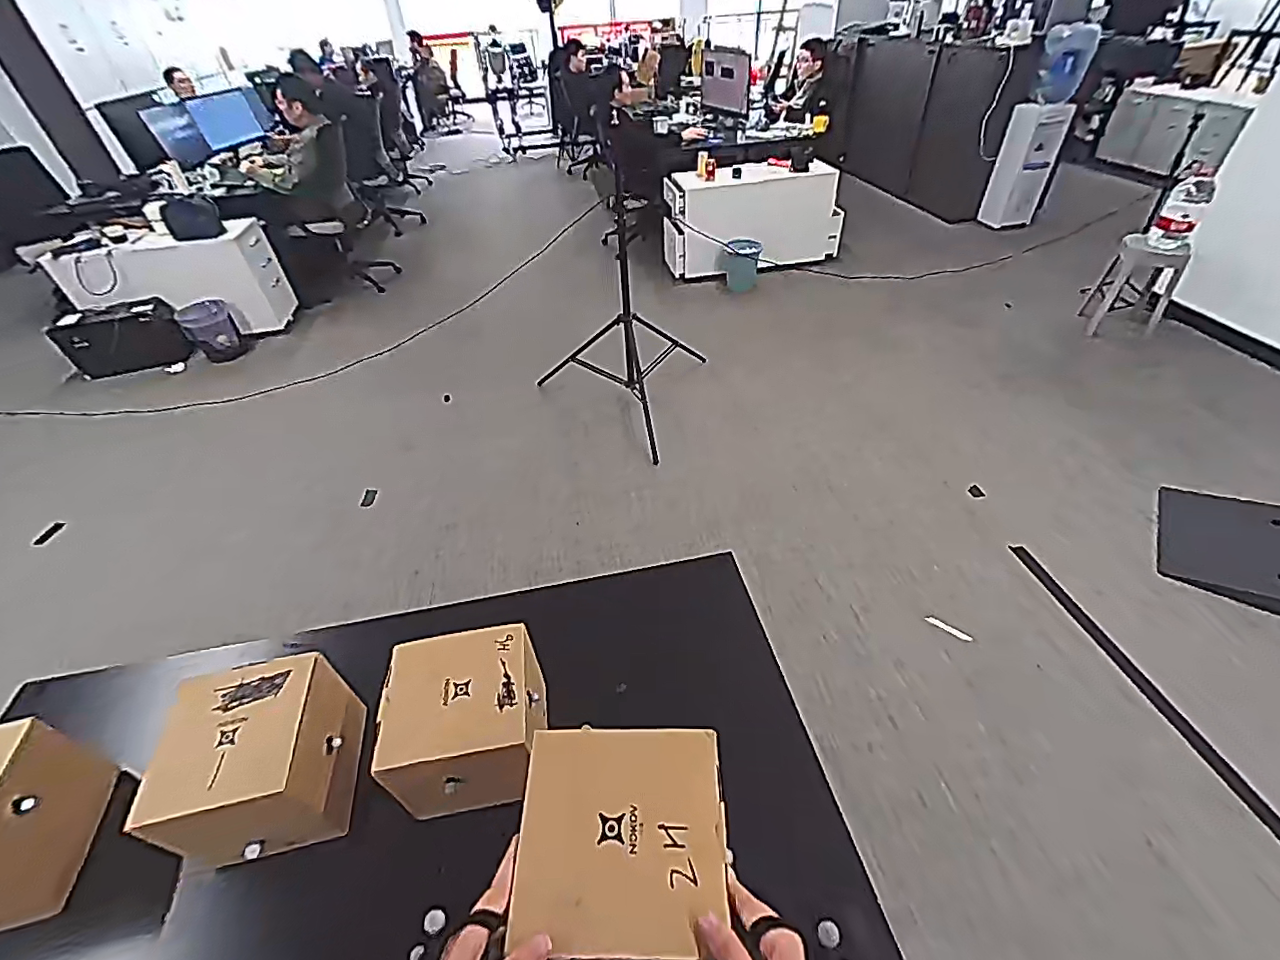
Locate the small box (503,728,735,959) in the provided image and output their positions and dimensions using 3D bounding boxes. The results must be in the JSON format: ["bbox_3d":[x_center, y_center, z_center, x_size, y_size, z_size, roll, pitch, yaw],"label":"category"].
[{"bbox_3d":[-0.011,0.348,0.507,0.179,0.176,0.168,-1,46,2],"label":"small box"}]

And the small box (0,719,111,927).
[{"bbox_3d":[-0.800,0.423,0.642,0.168,0.176,0.179,-11,42,-10],"label":"small box"}]

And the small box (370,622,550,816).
[{"bbox_3d":[-0.221,0.318,0.715,0.179,0.176,0.168,-9,42,-5],"label":"small box"}]

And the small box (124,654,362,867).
[{"bbox_3d":[-0.477,0.356,0.691,0.168,0.176,0.179,-10,43,-7],"label":"small box"}]
